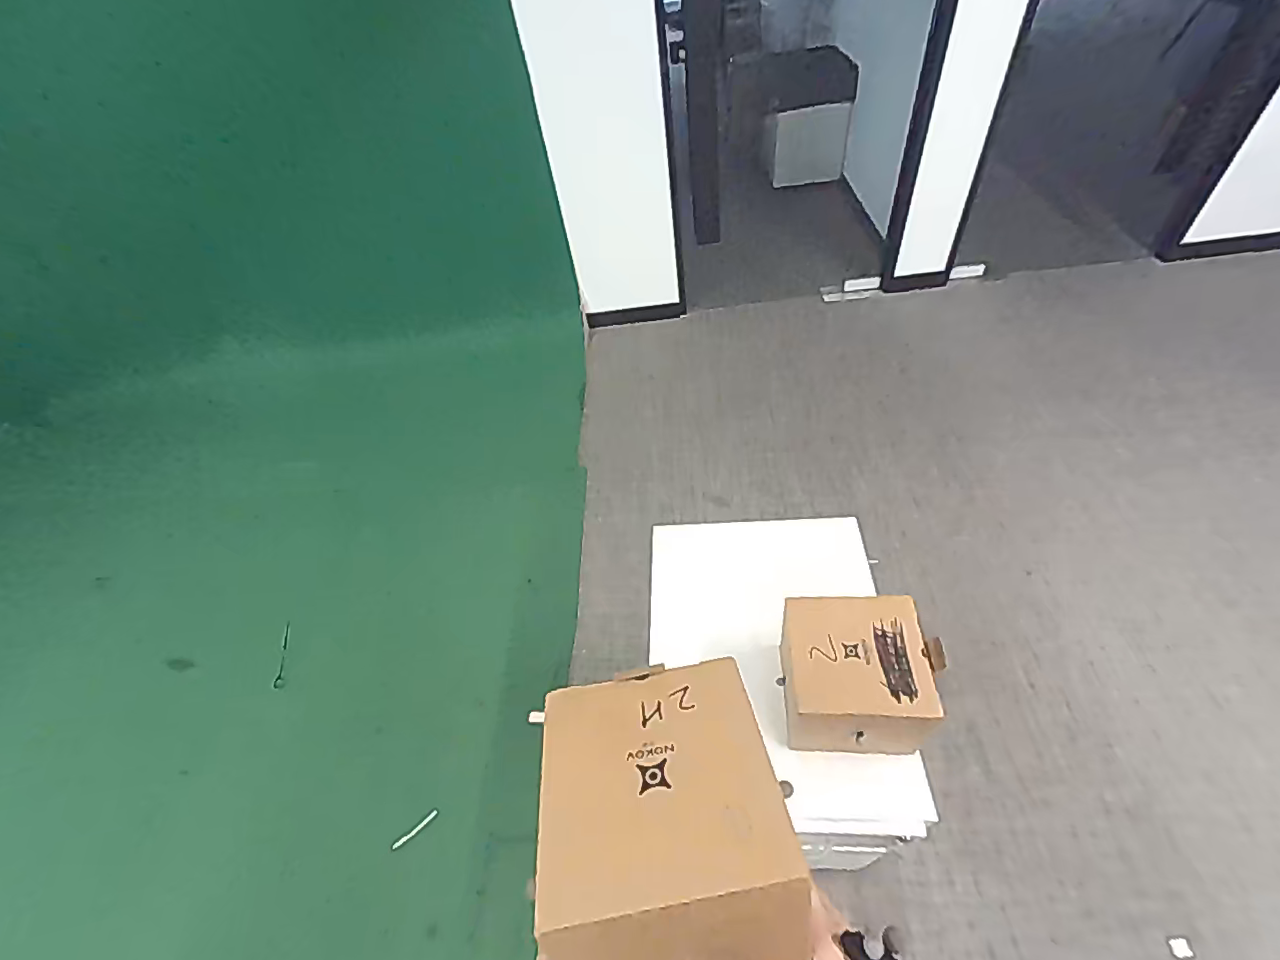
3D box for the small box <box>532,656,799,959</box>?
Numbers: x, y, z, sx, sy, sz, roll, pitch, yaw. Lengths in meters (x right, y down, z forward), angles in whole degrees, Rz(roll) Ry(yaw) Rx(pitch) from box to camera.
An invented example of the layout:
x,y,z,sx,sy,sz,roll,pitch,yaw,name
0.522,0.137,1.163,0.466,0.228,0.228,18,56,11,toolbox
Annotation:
x,y,z,sx,sy,sz,roll,pitch,yaw,name
0.020,0.275,0.428,0.168,0.176,0.179,-10,28,-1,small box
